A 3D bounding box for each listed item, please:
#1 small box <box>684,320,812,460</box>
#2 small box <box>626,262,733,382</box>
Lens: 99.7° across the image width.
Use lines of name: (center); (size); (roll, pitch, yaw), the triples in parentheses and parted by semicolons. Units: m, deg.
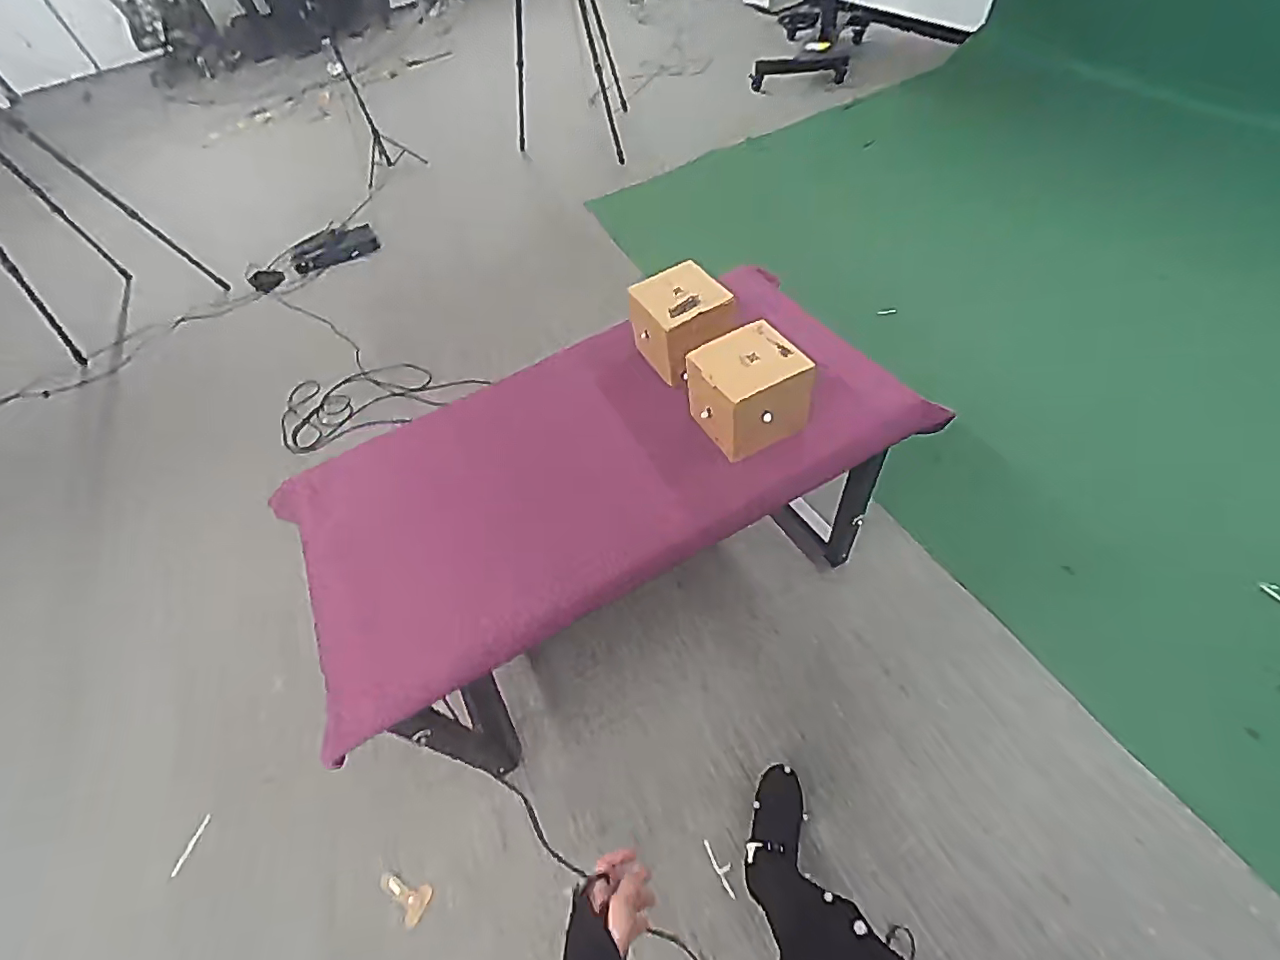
small box: (0.206, -0.167, 1.039); (0.179, 0.176, 0.168); (-27, 53, -9)
small box: (0.091, -0.337, 1.184); (0.168, 0.176, 0.179); (-27, 54, -10)
